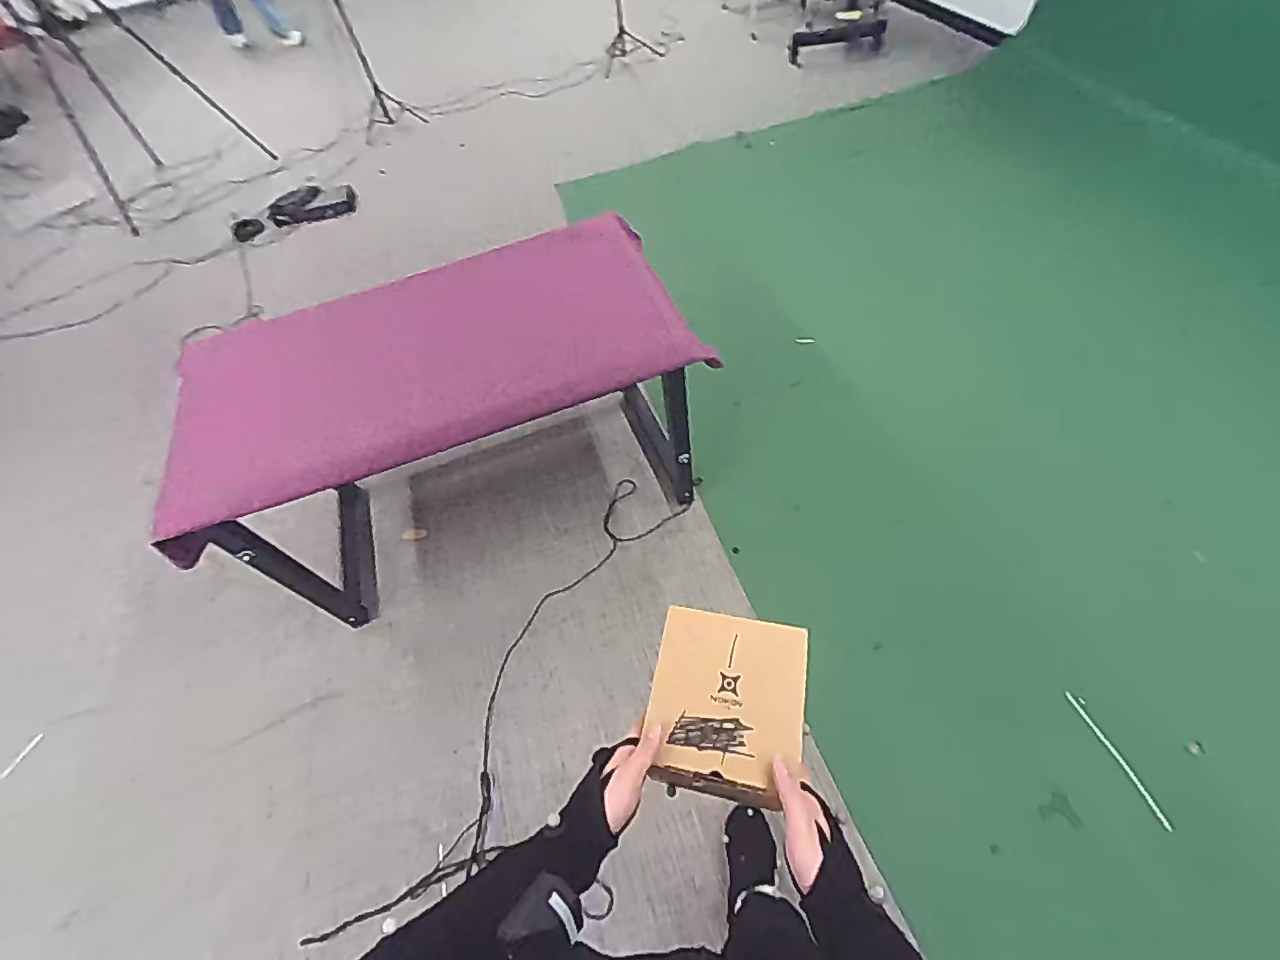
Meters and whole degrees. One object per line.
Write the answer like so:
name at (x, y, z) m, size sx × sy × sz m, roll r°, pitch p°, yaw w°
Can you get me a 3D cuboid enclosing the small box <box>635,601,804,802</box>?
small box at (0.100, 0.273, 0.657) m, size 0.168 × 0.176 × 0.179 m, roll 8°, pitch 55°, yaw 12°
